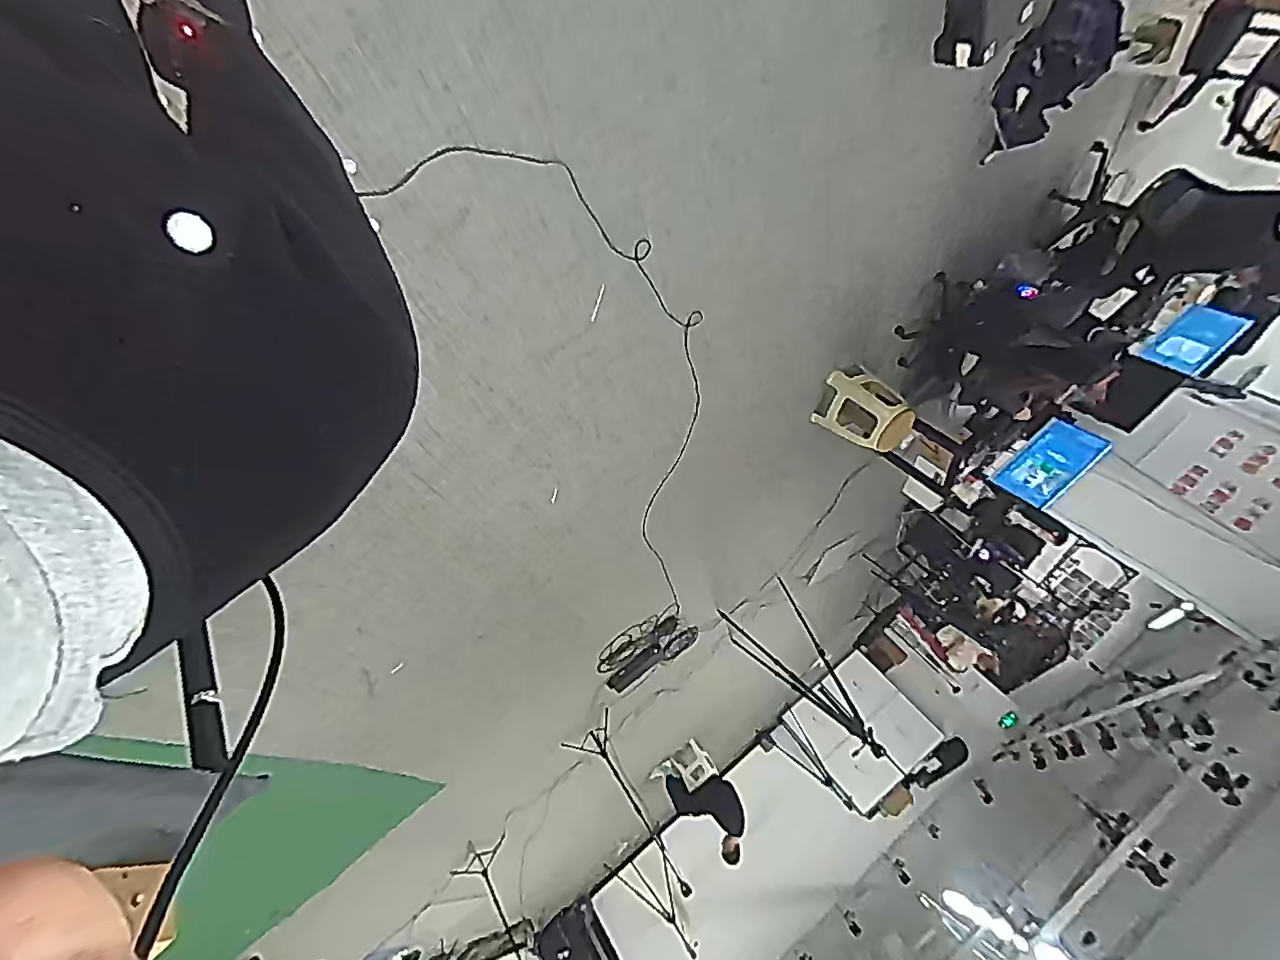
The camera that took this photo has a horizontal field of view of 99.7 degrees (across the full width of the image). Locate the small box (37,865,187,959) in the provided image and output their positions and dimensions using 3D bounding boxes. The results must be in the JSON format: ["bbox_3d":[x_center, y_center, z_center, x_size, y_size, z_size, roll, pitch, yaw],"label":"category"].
[{"bbox_3d":[-1.128,0.958,1.154,0.179,0.176,0.168,-40,144,-6],"label":"small box"}]
